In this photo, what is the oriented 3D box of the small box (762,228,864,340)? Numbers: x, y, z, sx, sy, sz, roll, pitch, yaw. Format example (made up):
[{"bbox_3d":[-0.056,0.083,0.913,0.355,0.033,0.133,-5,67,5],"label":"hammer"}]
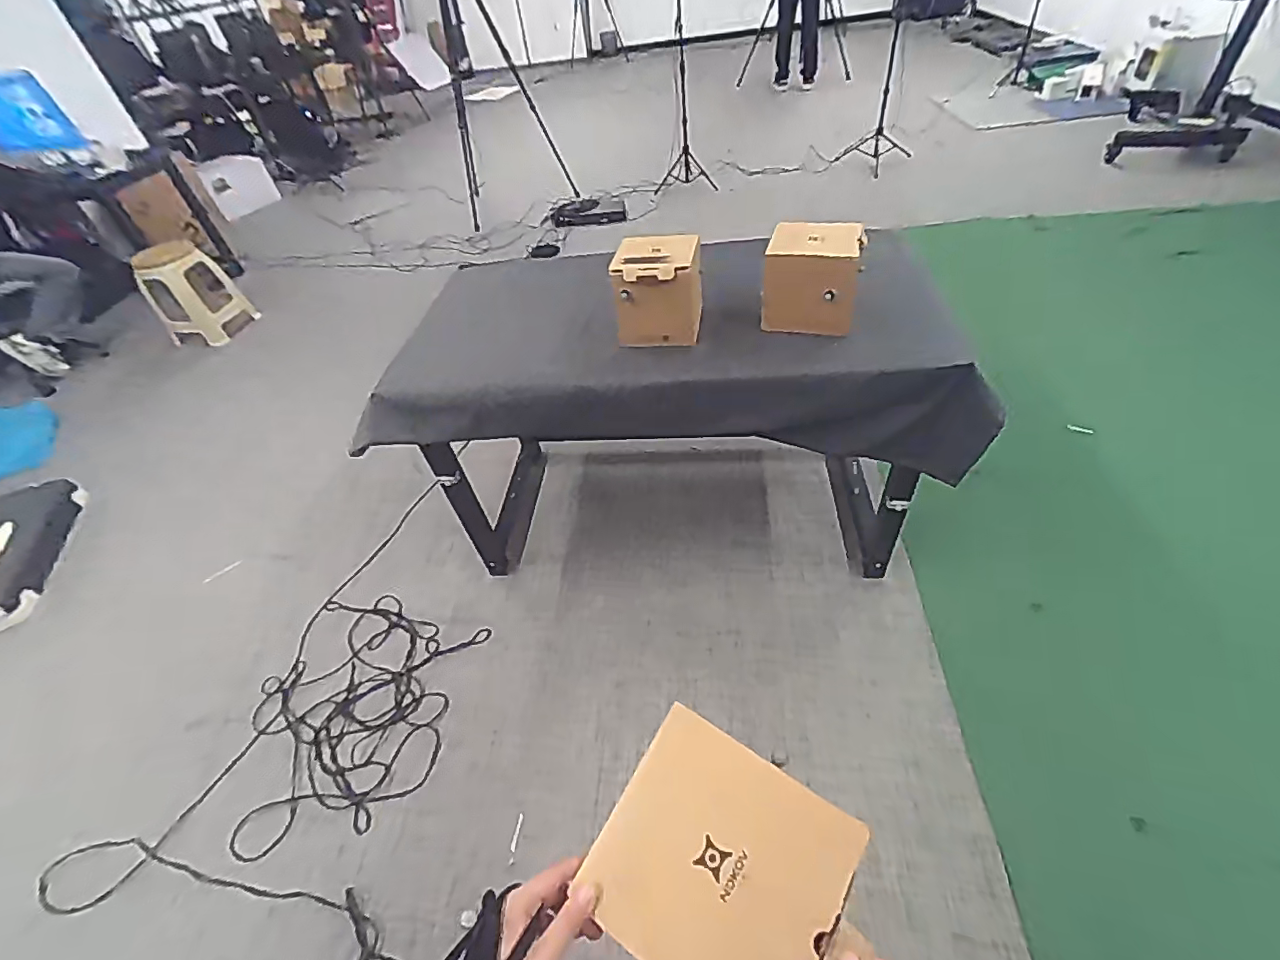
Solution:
[{"bbox_3d":[0.359,-0.408,1.131,0.179,0.176,0.168,9,46,18],"label":"small box"}]
